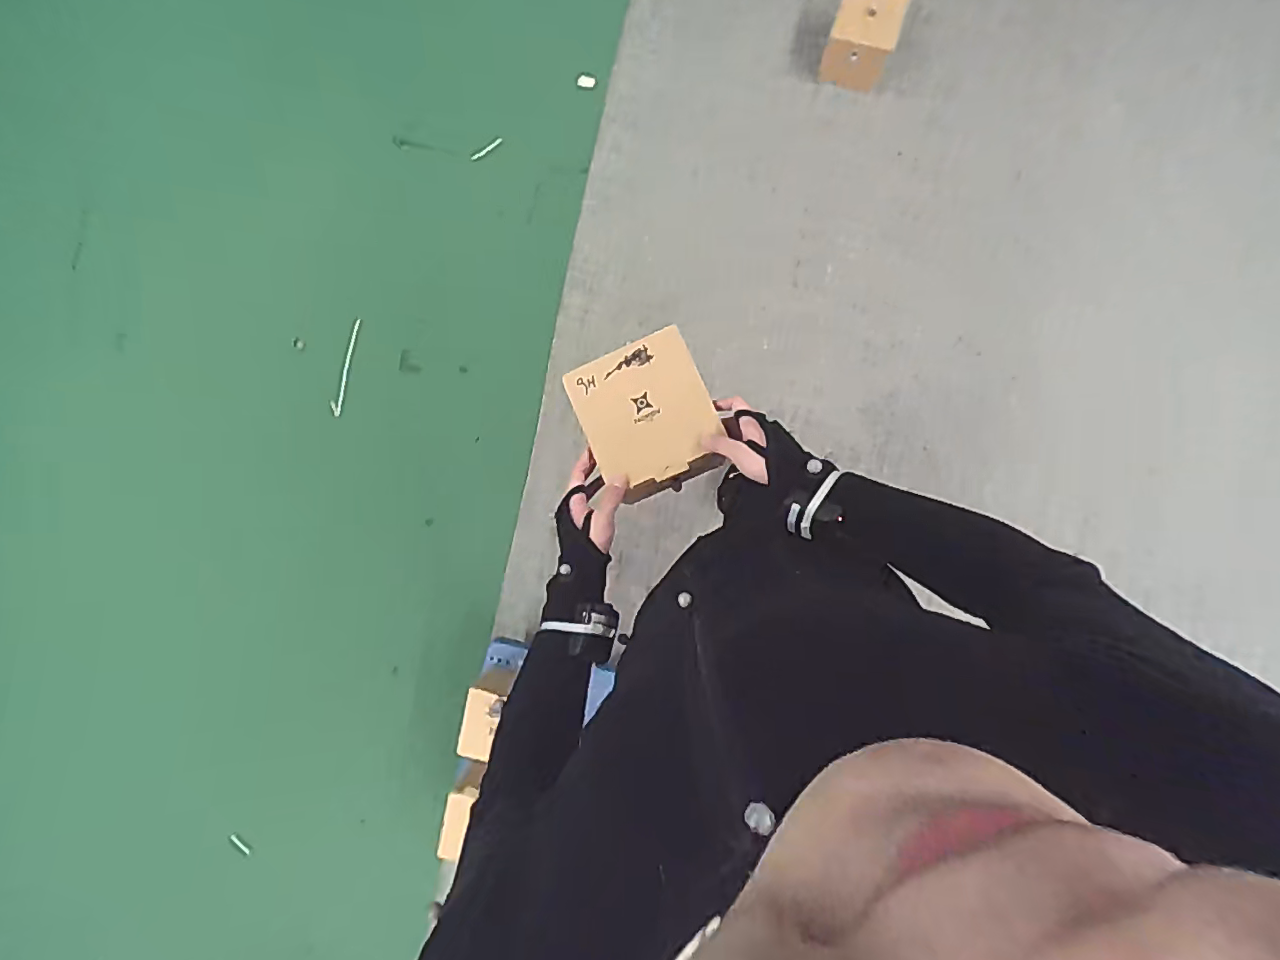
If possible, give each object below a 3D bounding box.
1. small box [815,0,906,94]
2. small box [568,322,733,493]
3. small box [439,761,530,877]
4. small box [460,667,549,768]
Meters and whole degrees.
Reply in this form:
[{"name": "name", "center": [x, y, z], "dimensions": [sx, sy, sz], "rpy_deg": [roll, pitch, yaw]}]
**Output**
[{"name": "small box", "center": [0.612, -1.235, 1.522], "dimensions": [0.179, 0.176, 0.168], "rpy_deg": [18, 92, 5]}, {"name": "small box", "center": [0.021, -0.087, 0.760], "dimensions": [0.168, 0.176, 0.179], "rpy_deg": [-22, 83, 3]}, {"name": "small box", "center": [-0.401, 0.881, 1.421], "dimensions": [0.168, 0.176, 0.179], "rpy_deg": [12, 91, 4]}, {"name": "small box", "center": [-0.351, 0.620, 1.434], "dimensions": [0.168, 0.176, 0.179], "rpy_deg": [12, 92, 5]}]
